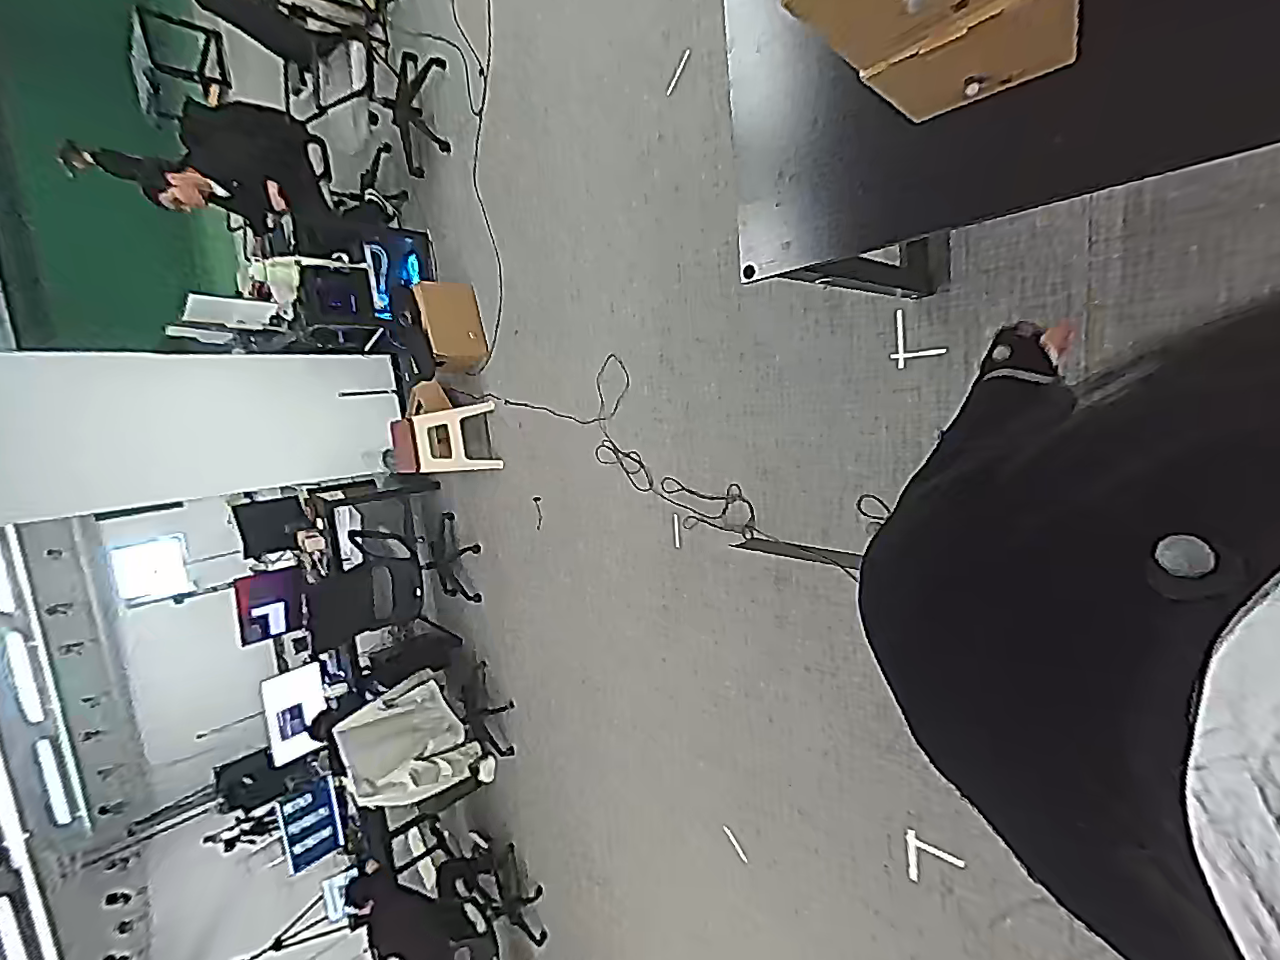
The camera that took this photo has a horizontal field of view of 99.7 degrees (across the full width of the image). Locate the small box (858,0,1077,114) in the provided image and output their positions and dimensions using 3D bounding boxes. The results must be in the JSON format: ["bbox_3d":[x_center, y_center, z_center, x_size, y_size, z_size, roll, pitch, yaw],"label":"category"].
[{"bbox_3d":[0.347,-0.533,0.571,0.168,0.176,0.179,6,104,47],"label":"small box"}]

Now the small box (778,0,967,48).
[{"bbox_3d":[0.226,-0.517,0.462,0.168,0.176,0.179,2,101,47],"label":"small box"}]
